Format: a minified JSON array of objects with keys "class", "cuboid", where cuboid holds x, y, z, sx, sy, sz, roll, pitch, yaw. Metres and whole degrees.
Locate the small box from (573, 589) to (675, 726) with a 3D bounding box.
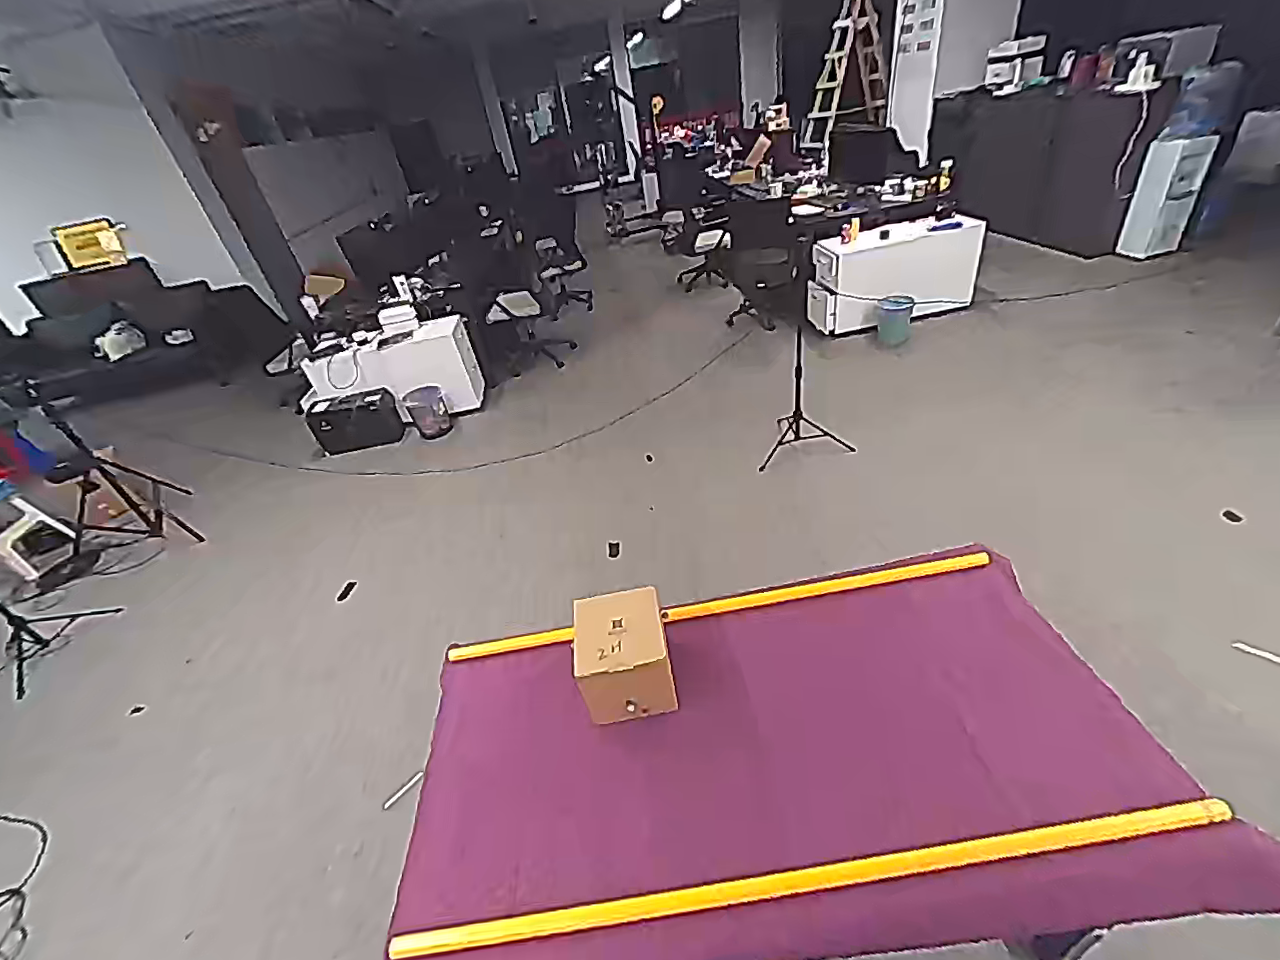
[{"class":"small box","cuboid":[-0.031,0.344,1.052,0.168,0.176,0.179,-11,37,1]}]
